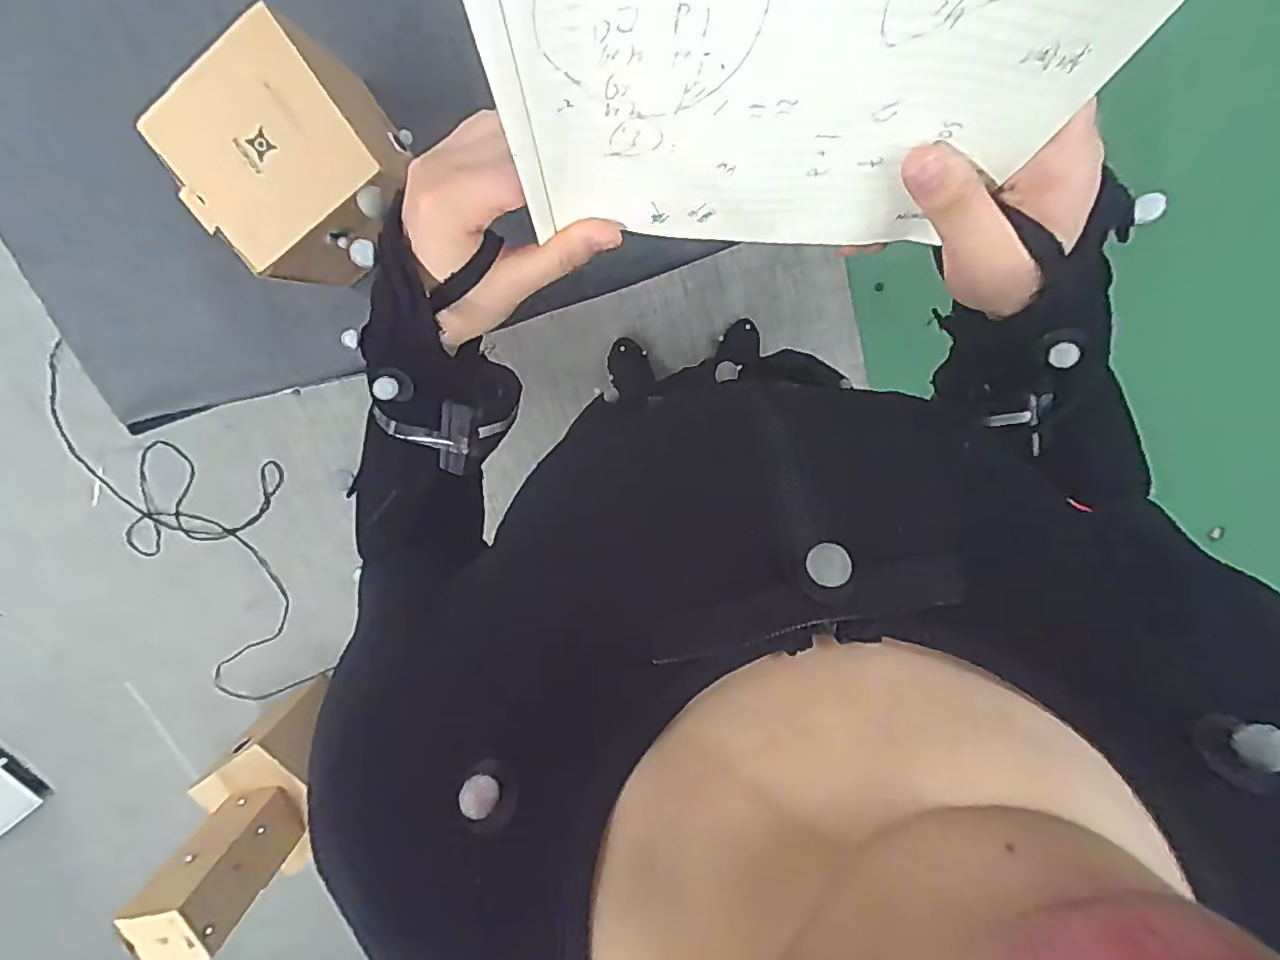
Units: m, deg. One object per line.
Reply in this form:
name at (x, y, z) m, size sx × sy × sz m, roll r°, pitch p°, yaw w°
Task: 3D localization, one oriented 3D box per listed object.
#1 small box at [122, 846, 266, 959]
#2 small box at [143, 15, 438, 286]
small box at (-1.069, 1.032, 1.312) m, size 0.179 × 0.176 × 0.168 m, roll -14°, pitch 106°, yaw 9°
small box at (-0.362, -0.334, 0.598) m, size 0.179 × 0.176 × 0.168 m, roll -33°, pitch 103°, yaw 10°
